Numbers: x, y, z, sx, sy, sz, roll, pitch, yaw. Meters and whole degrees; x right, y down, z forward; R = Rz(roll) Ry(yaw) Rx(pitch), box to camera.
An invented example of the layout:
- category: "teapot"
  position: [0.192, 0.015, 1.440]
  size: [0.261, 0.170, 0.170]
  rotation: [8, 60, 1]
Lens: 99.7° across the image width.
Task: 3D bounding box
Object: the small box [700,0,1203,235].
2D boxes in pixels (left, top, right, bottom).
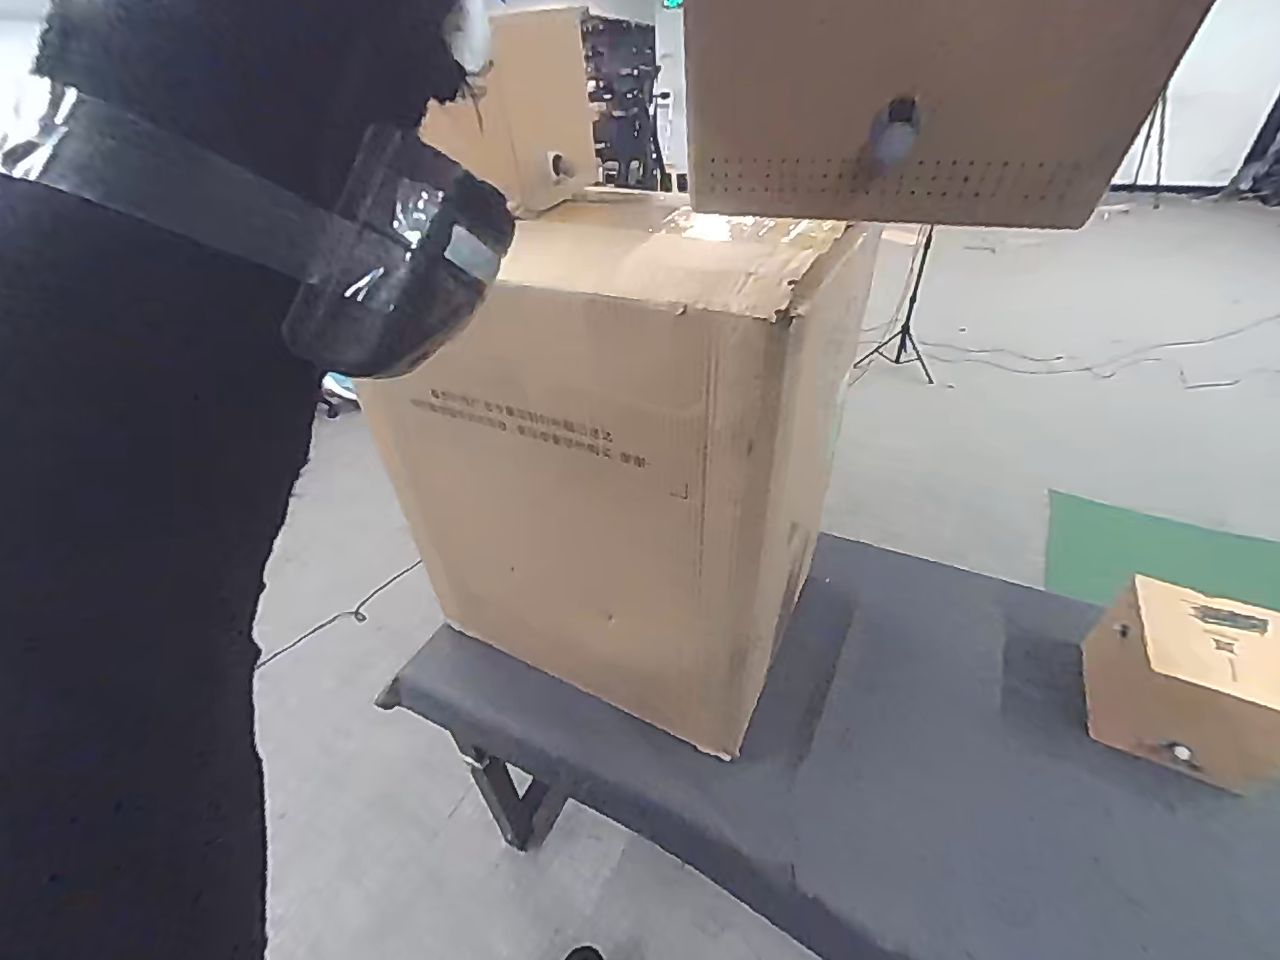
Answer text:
- category: "small box"
  position: [0.128, -0.231, 0.242]
  size: [0.179, 0.176, 0.168]
  rotation: [10, 55, 13]

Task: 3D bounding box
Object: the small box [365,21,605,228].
- category: "small box"
  position: [-0.155, -0.394, 0.603]
  size: [0.179, 0.176, 0.168]
  rotation: [13, 45, 19]

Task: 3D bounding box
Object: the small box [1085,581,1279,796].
- category: "small box"
  position: [0.733, 0.275, 0.727]
  size: [0.168, 0.176, 0.179]
  rotation: [16, 41, 25]
